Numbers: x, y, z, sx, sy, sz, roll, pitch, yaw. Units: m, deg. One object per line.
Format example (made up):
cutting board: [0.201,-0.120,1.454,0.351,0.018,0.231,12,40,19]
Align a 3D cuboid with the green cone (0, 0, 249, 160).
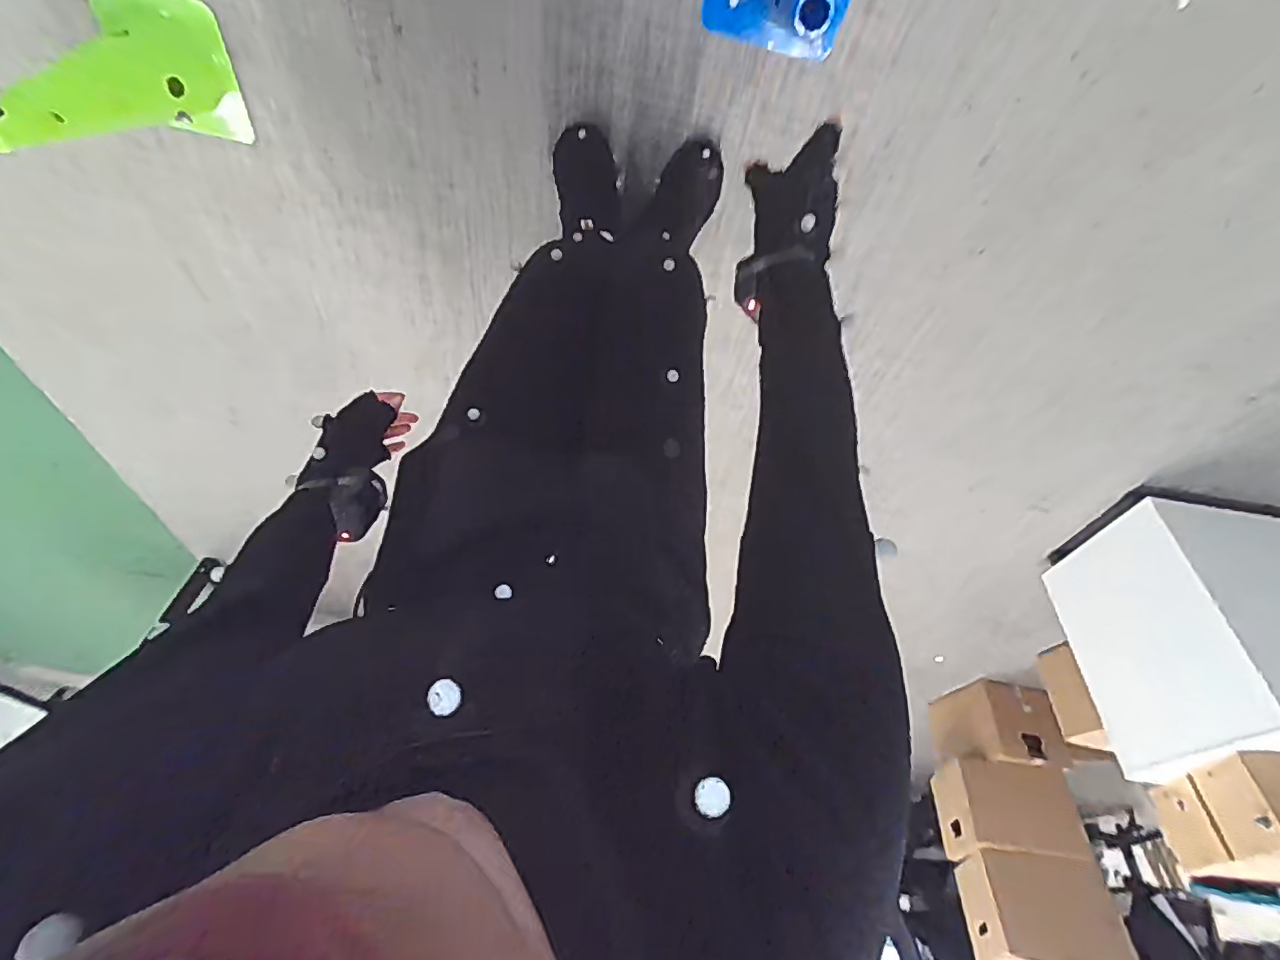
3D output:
green cone: [-0.798,-0.550,0.784,0.202,0.368,0.200,10,140,-3]
